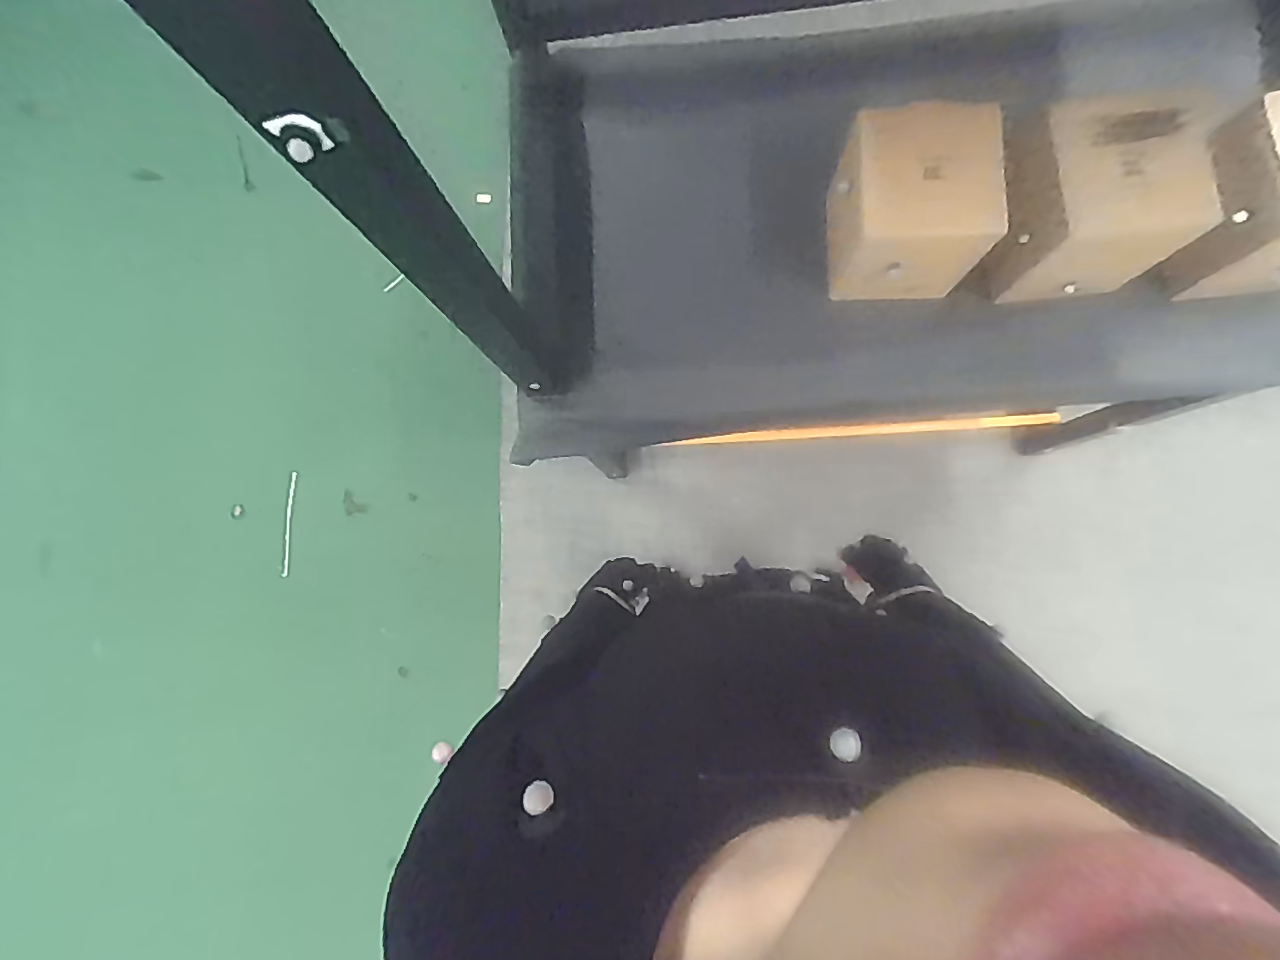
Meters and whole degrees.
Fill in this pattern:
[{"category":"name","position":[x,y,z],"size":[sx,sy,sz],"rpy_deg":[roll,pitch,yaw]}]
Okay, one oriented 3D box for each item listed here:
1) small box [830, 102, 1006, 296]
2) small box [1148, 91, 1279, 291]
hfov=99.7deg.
[{"category":"small box","position":[0.361,-0.364,0.734],"size":[0.168,0.176,0.179],"rpy_deg":[1,81,6]},{"category":"small box","position":[0.806,-0.356,0.682],"size":[0.168,0.176,0.179],"rpy_deg":[-5,81,5]}]
